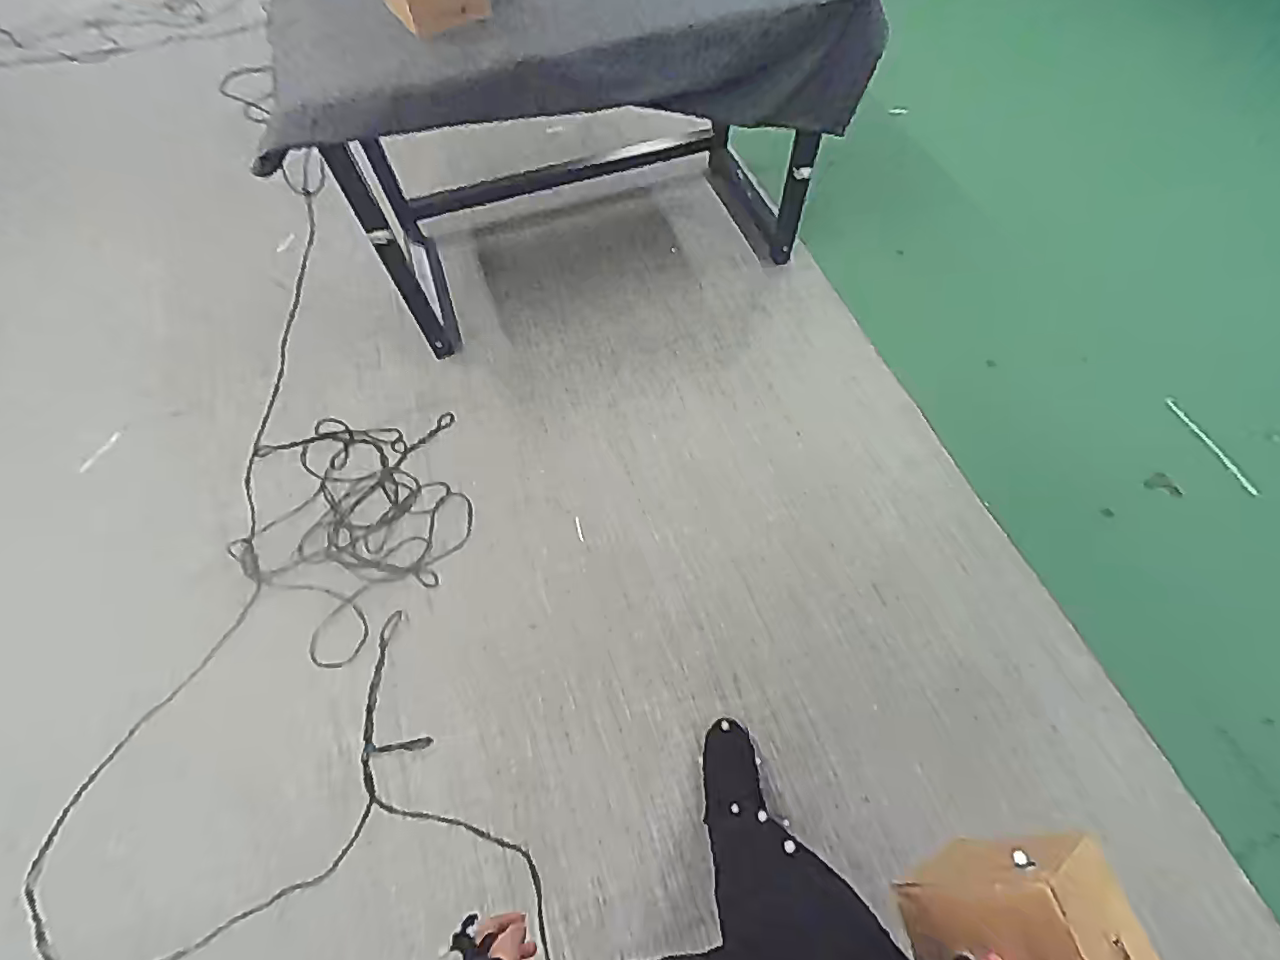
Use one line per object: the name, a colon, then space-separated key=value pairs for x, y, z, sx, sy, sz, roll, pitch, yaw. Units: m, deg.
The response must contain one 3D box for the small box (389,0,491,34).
small box: x=-0.414 y=-1.013 z=1.058 sx=0.168 sy=0.176 sz=0.179 roll=-31 pitch=65 yaw=-15
